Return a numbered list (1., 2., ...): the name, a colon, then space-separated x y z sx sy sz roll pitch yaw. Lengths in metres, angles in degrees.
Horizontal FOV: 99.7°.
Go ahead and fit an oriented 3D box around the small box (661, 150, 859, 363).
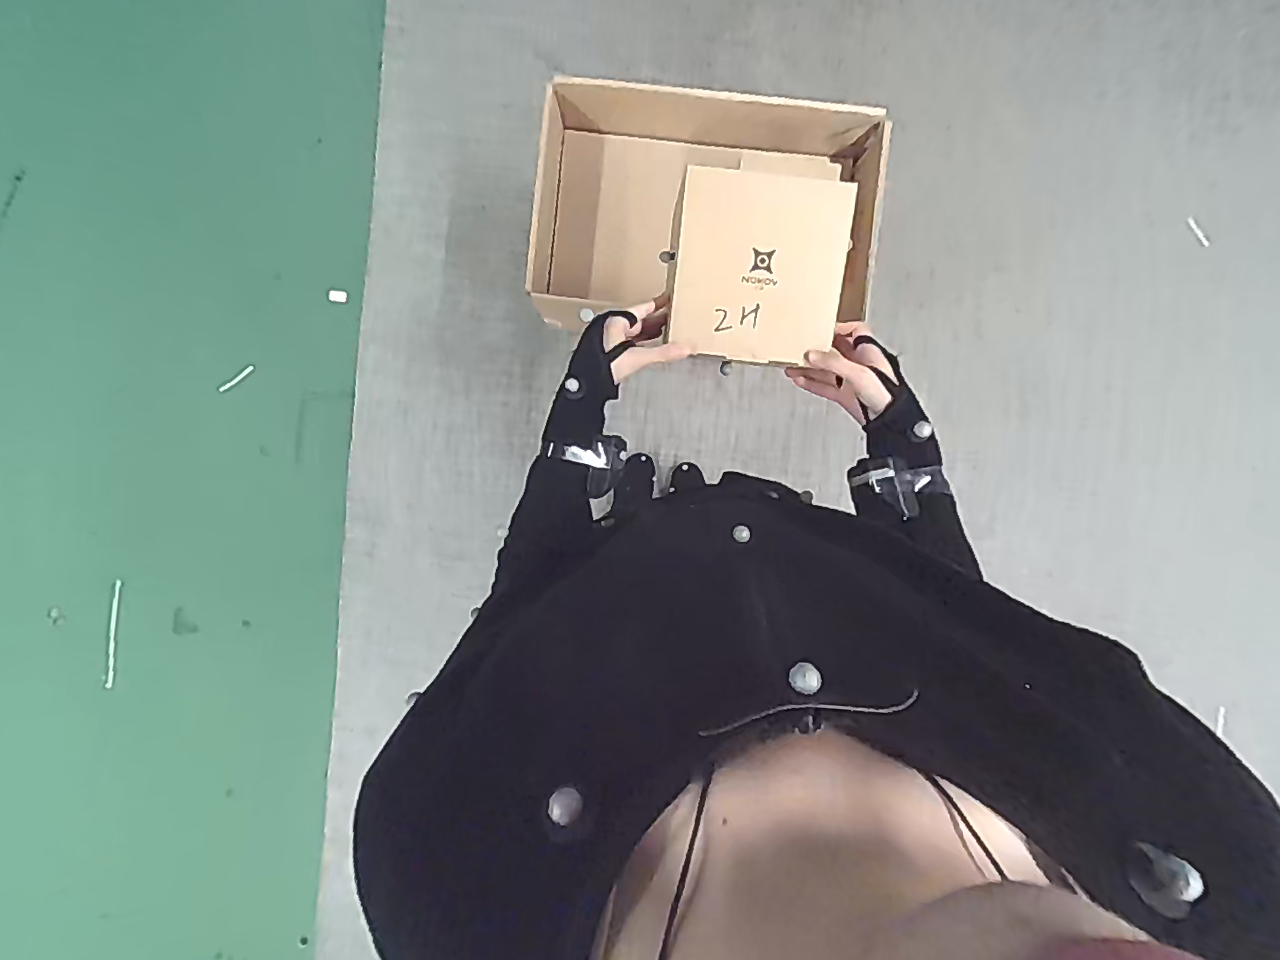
1. small box: 0.115 -0.227 0.596 0.168 0.176 0.179 6 101 -1
